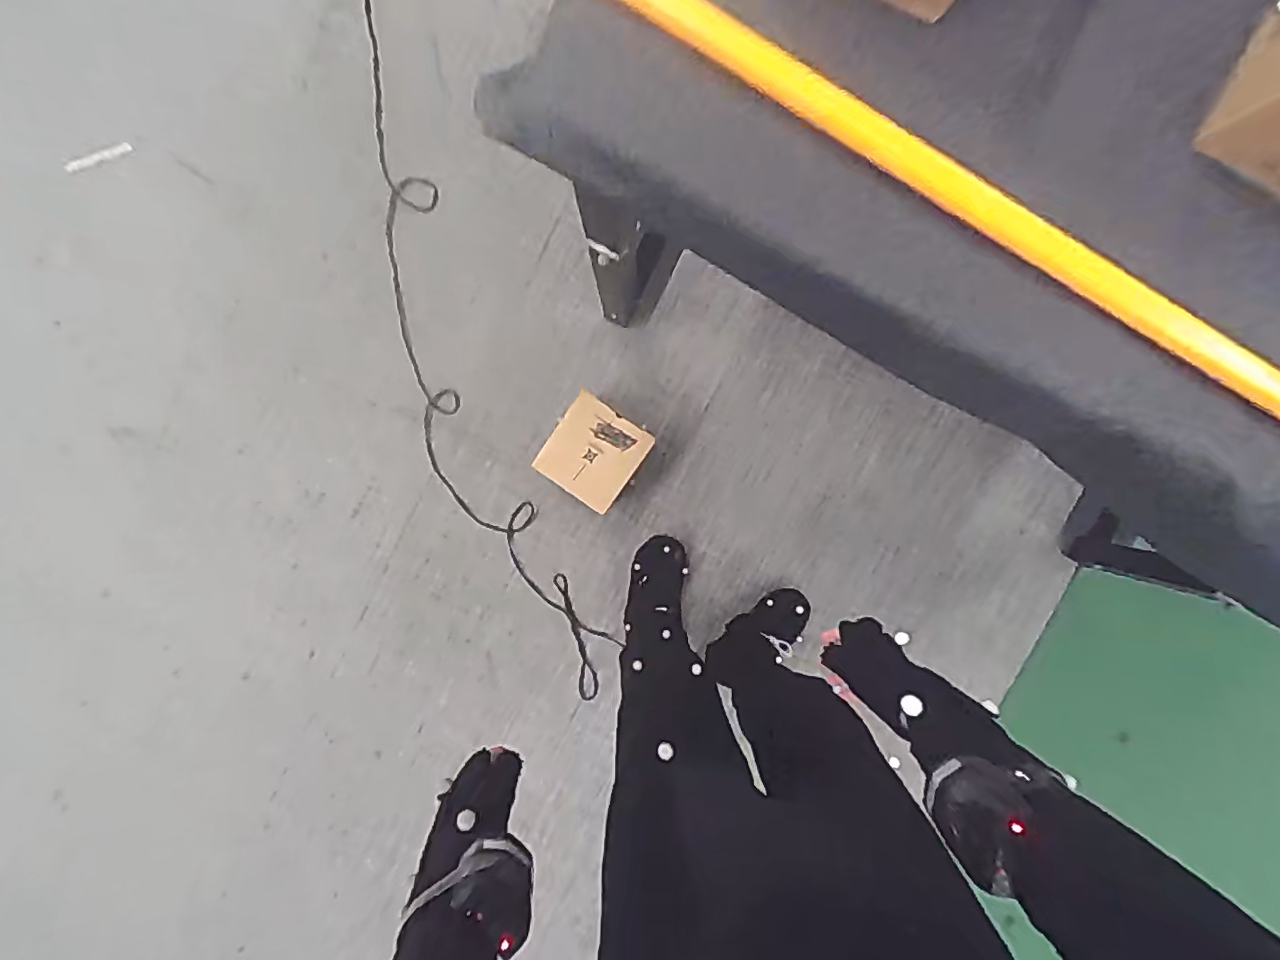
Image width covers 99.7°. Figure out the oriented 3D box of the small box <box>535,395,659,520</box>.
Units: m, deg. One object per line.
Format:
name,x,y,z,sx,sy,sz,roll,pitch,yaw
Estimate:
small box,-0.081,-0.046,1.072,0.168,0.176,0.179,35,93,-2
